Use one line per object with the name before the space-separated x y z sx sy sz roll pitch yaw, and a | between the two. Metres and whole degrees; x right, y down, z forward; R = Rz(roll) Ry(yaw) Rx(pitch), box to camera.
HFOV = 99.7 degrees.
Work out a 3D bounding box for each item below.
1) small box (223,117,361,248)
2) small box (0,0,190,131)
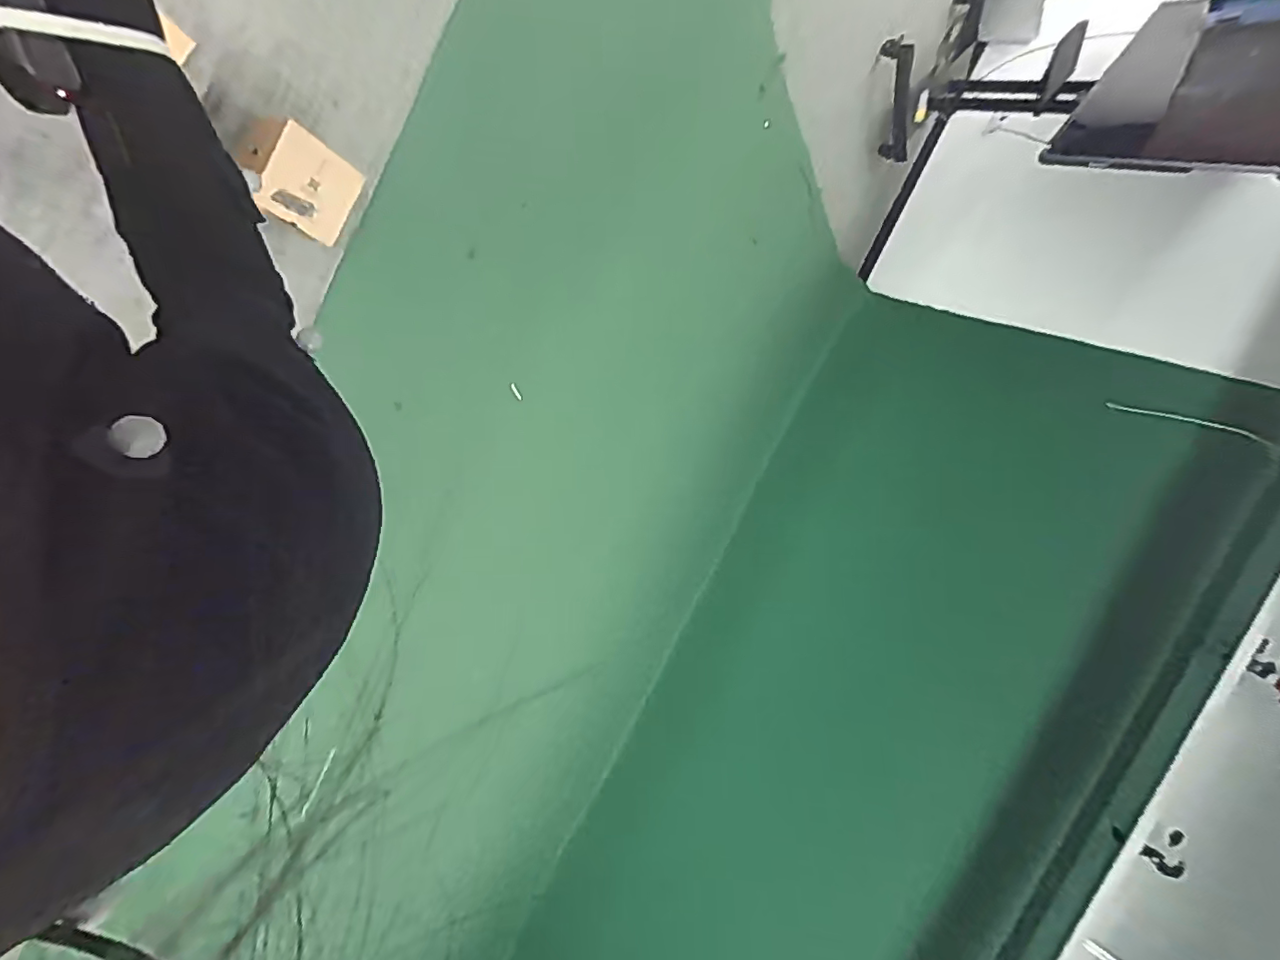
small box | -0.736 -0.625 1.137 0.168 0.176 0.179 24 93 -59
small box | -0.882 -0.704 0.864 0.179 0.176 0.168 -60 149 -2
